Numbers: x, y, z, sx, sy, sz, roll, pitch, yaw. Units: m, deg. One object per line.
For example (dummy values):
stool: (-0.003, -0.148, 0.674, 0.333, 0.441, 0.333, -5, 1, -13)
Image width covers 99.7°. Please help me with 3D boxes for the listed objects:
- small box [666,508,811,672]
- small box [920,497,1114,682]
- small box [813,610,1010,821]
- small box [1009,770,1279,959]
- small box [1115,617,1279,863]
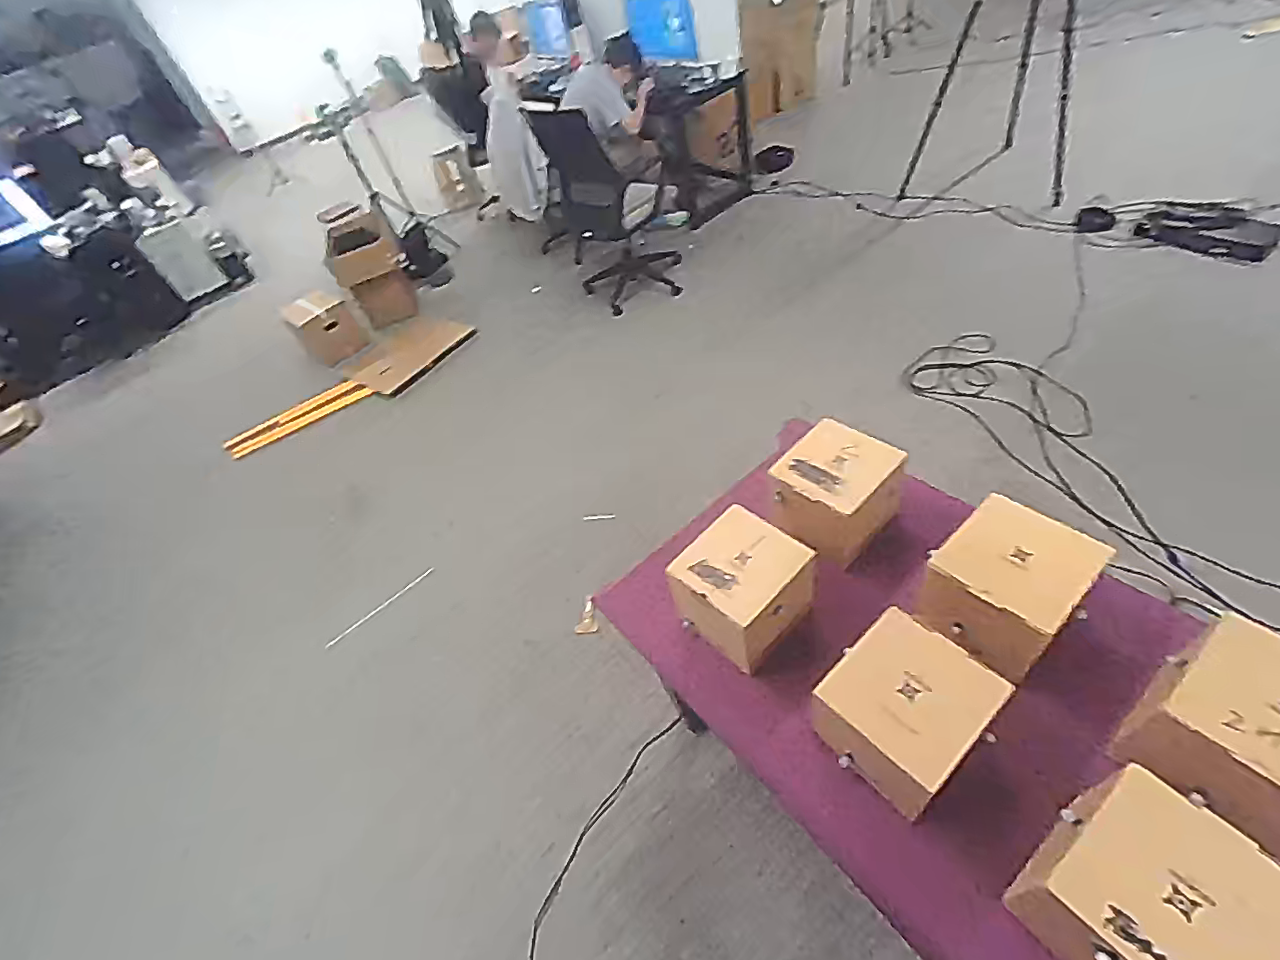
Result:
small box: (0.173, 0.188, 0.915, 0.179, 0.176, 0.168, -39, 49, -20)
small box: (0.550, 0.166, 0.817, 0.179, 0.176, 0.168, -39, 49, -16)
small box: (0.356, 0.321, 0.739, 0.179, 0.176, 0.168, -38, 48, -16)
small box: (0.527, 0.450, 0.564, 0.179, 0.176, 0.168, -36, 47, -16)
small box: (0.715, 0.304, 0.634, 0.179, 0.176, 0.168, -38, 48, -15)
